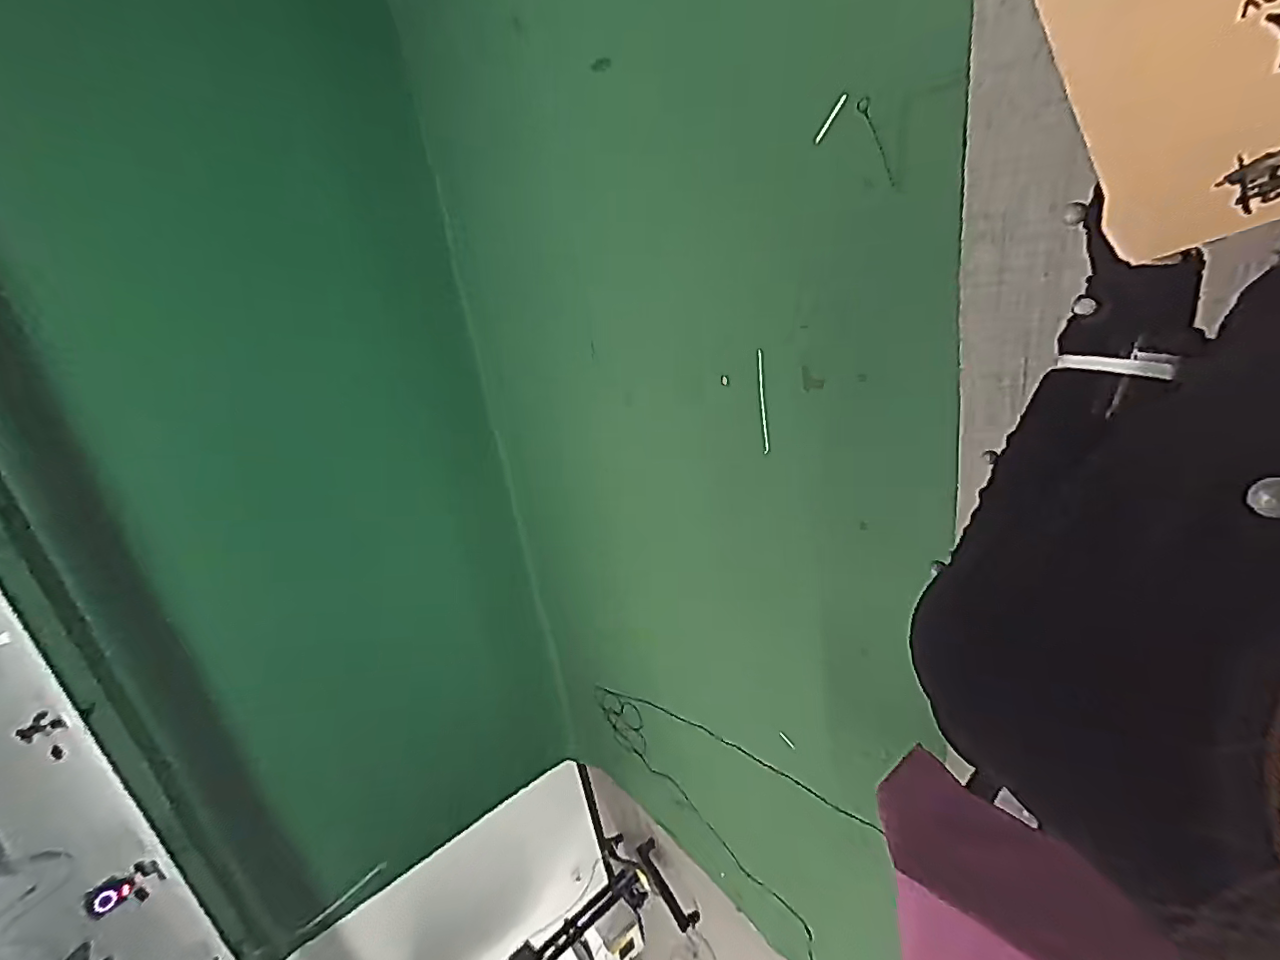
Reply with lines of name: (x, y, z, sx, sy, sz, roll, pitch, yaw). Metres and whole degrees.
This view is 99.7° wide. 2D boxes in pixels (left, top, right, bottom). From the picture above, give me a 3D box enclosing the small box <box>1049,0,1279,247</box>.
small box: (0.338, -0.252, 0.257, 0.179, 0.176, 0.168, 58, 156, -13)
